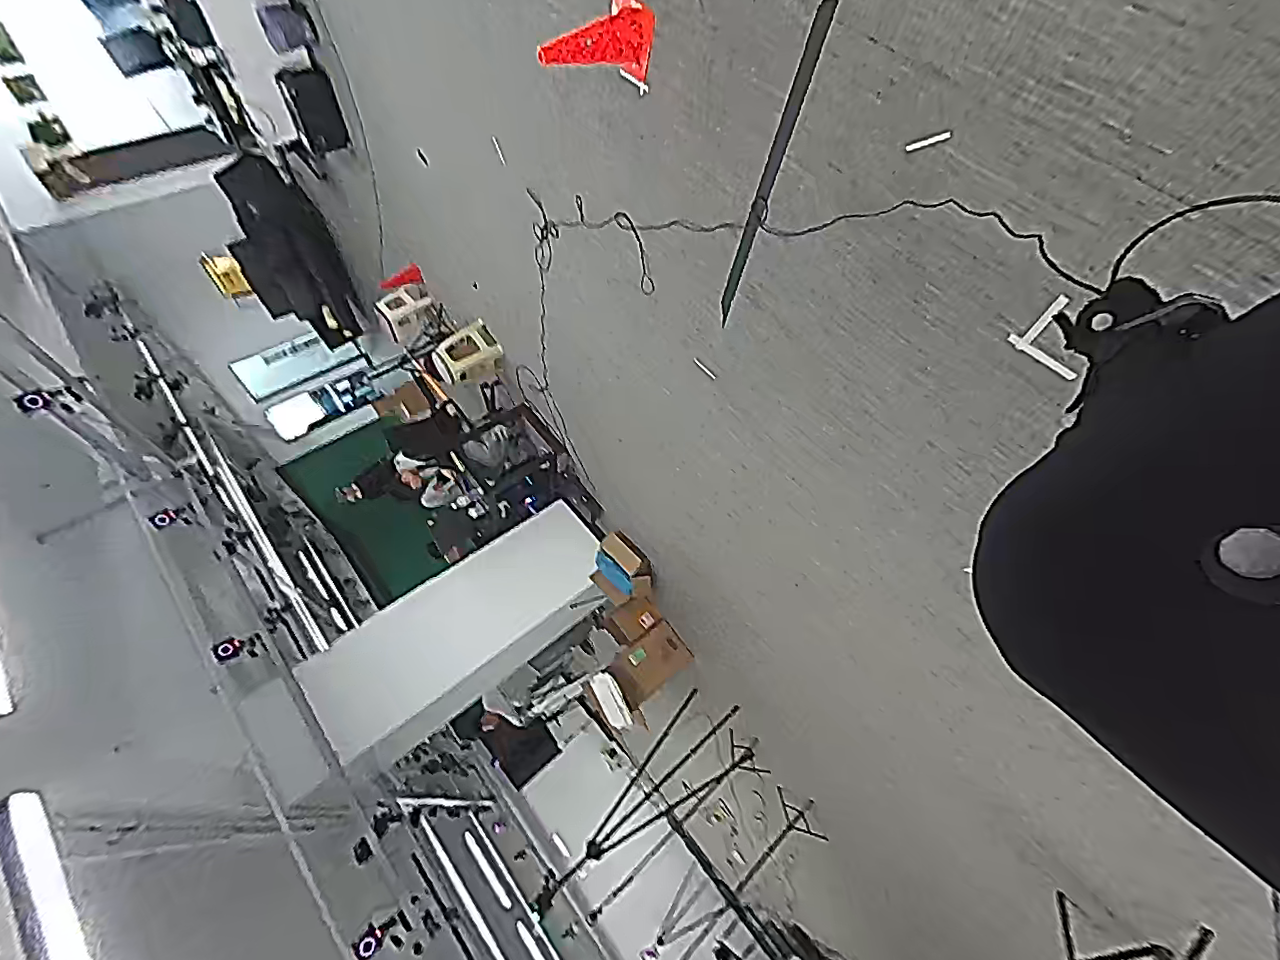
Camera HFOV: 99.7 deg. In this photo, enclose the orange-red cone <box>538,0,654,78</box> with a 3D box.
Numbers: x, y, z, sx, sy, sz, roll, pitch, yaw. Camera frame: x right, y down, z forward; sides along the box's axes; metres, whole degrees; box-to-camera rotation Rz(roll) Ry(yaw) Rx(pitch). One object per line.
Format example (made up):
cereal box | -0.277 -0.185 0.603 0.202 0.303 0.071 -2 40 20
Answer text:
orange-red cone | -0.163 -1.368 1.683 0.198 0.360 0.199 50 154 12
